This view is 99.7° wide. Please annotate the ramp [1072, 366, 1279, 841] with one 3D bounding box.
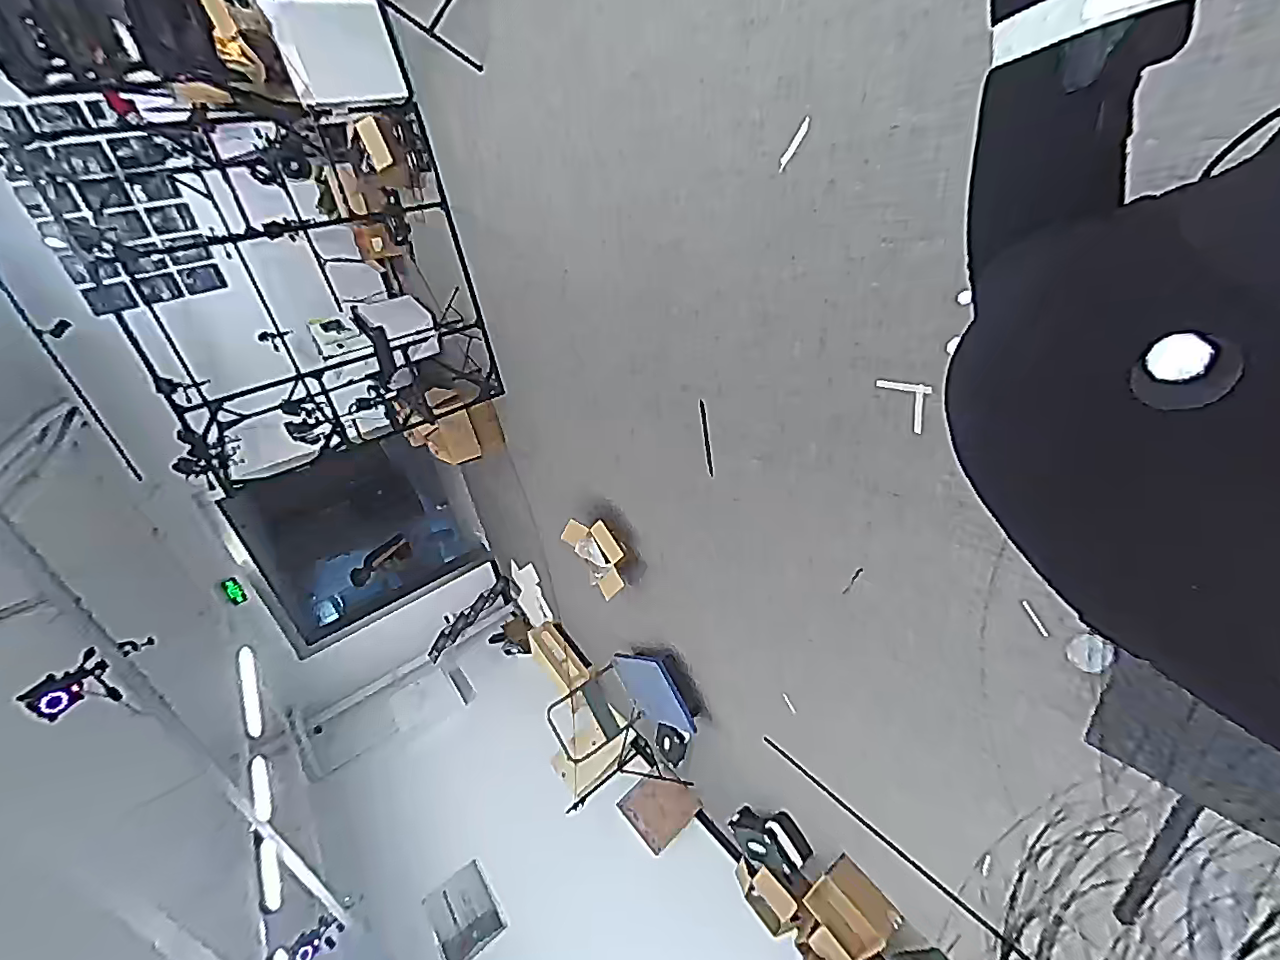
[{"bbox_3d":[1.317,0.294,1.111,0.509,0.206,0.991,25,134,49],"label":"ramp"}]
